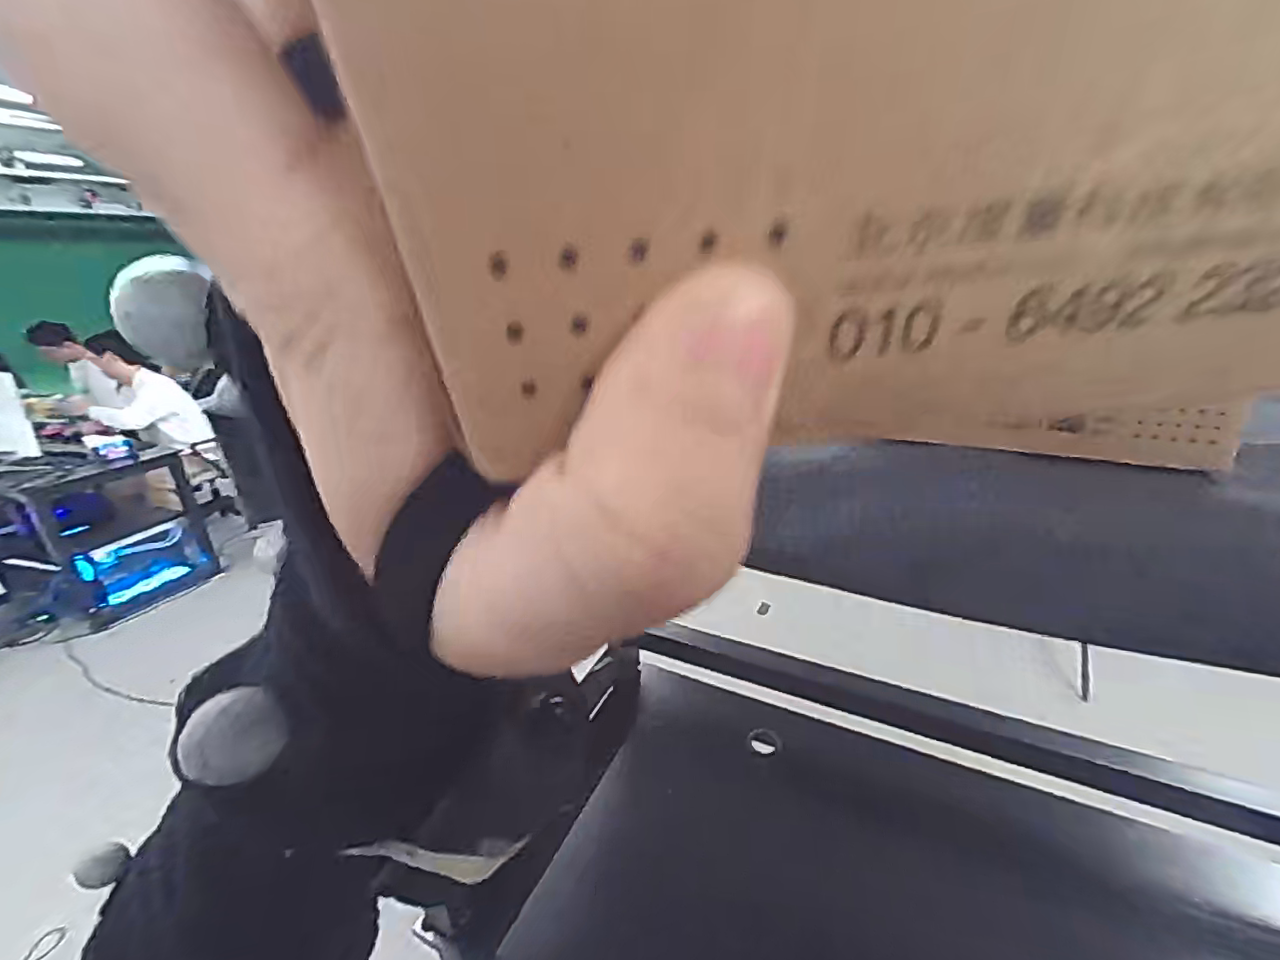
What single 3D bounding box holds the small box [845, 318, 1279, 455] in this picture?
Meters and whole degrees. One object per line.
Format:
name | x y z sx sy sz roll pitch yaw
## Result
small box | 0.221 -0.124 0.310 0.168 0.176 0.179 9 22 26
